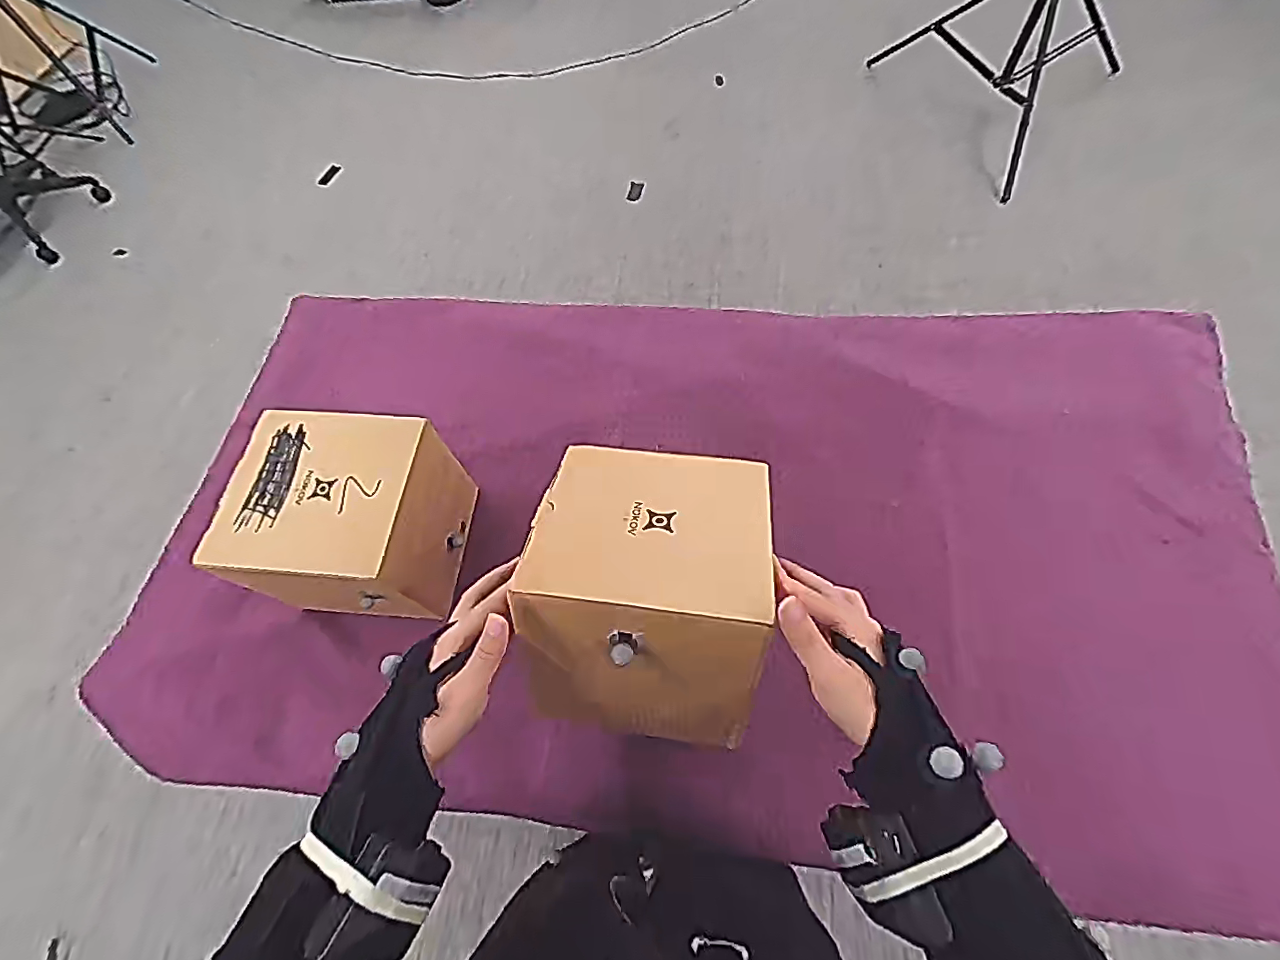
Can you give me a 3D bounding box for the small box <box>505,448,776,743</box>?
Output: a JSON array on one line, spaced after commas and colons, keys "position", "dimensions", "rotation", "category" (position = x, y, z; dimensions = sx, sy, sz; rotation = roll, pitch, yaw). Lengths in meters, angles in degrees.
[{"position": [0.009, 0.093, 0.450], "dimensions": [0.179, 0.176, 0.168], "rotation": [5, 37, 7], "category": "small box"}]
